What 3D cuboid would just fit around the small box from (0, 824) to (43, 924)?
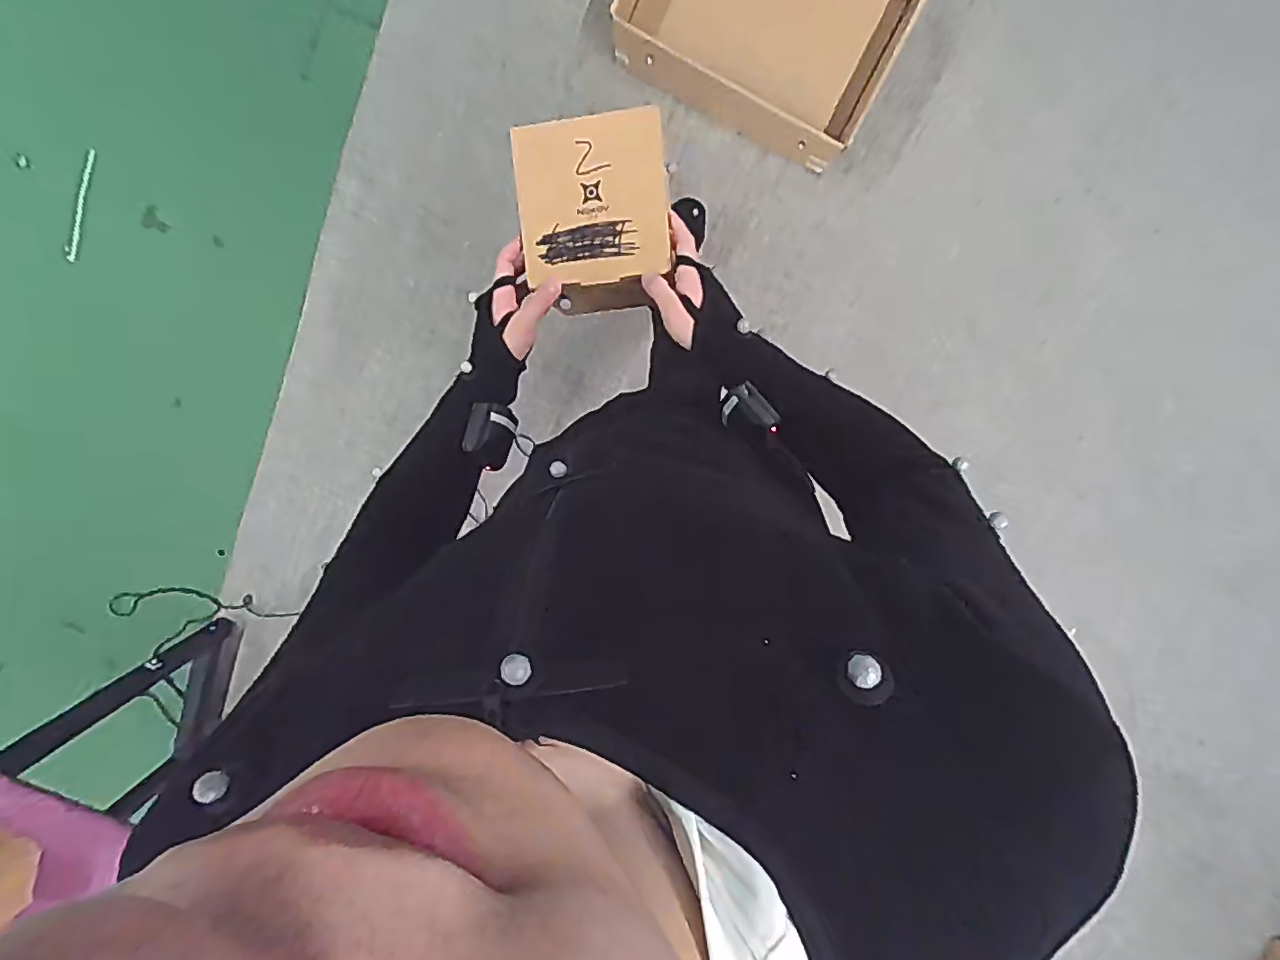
[{"bbox_3d":[-1.326,0.800,1.042,0.168,0.176,0.179,25,104,-5],"label":"small box"}]
